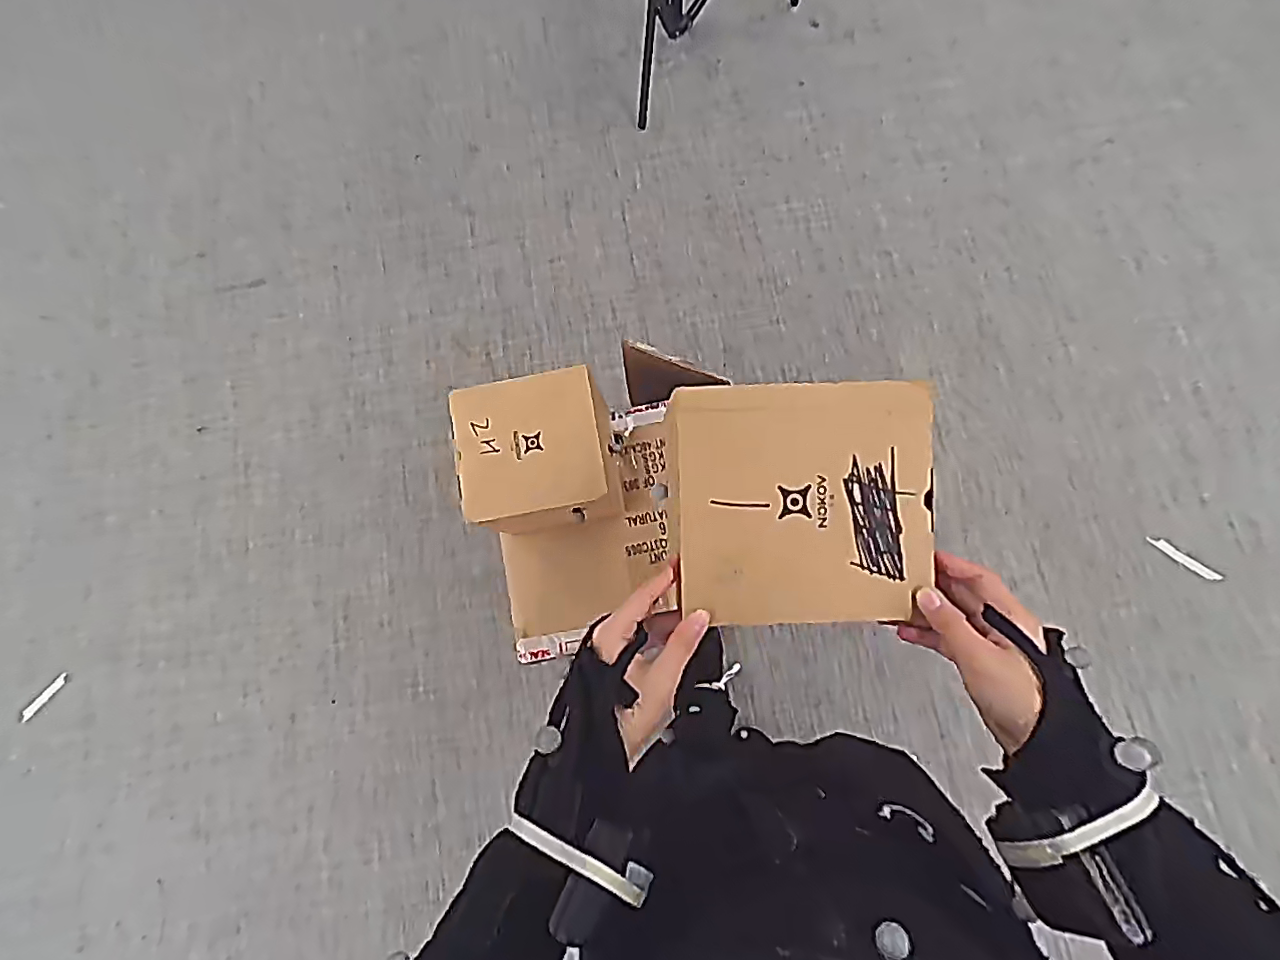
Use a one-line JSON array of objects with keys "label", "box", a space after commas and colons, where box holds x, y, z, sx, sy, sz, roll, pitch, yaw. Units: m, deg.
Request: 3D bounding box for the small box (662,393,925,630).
[{"label": "small box", "box": [0.111, 0.020, 0.455, 0.179, 0.176, 0.168, -2, 90, 1]}]

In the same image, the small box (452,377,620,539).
[{"label": "small box", "box": [-0.125, -0.019, 0.719, 0.179, 0.176, 0.168, -11, 79, 3]}]
